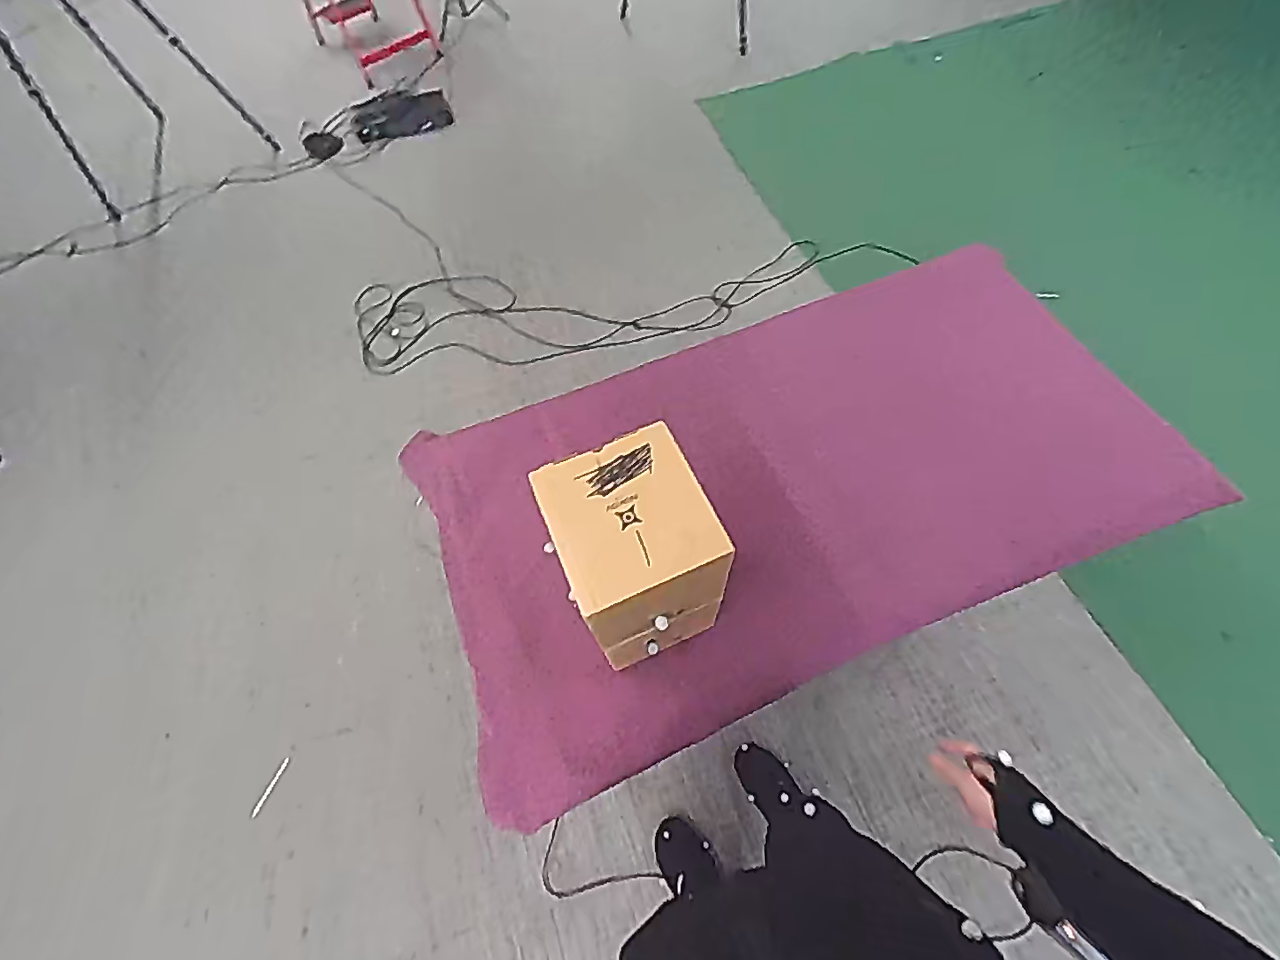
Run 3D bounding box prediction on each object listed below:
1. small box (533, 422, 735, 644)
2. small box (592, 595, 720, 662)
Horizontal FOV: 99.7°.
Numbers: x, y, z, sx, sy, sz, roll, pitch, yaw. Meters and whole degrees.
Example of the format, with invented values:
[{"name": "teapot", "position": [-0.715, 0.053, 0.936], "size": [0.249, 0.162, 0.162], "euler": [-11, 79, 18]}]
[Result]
[{"name": "small box", "position": [-0.007, 0.068, 0.633], "size": [0.168, 0.176, 0.179], "euler": [-23, 64, -7]}, {"name": "small box", "position": [0.002, 0.146, 0.777], "size": [0.168, 0.176, 0.179], "euler": [-23, 63, -8]}]
